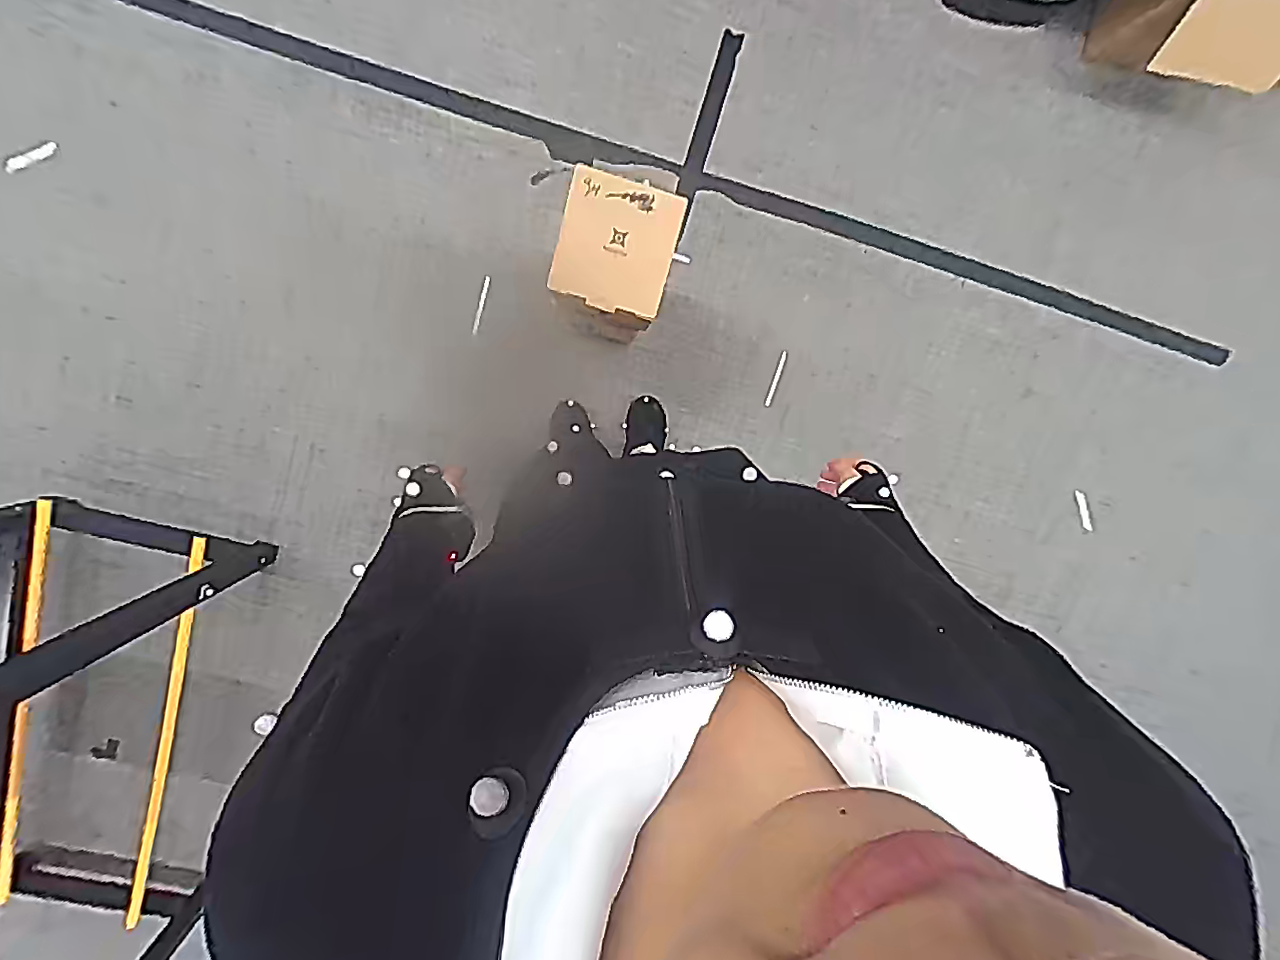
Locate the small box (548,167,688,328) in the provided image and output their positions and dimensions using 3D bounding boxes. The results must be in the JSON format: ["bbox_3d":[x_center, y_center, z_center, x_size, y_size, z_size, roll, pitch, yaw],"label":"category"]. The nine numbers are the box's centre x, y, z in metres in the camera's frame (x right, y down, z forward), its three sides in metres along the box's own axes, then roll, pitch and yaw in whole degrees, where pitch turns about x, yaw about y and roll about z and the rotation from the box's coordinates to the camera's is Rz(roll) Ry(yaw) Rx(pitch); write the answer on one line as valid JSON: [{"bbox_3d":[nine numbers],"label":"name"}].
[{"bbox_3d":[-0.034,-0.347,0.847,0.168,0.176,0.179,15,101,-6],"label":"small box"}]

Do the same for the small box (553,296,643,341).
[{"bbox_3d":[-0.051,-0.372,1.009,0.168,0.176,0.179,19,100,-6],"label":"small box"}]
